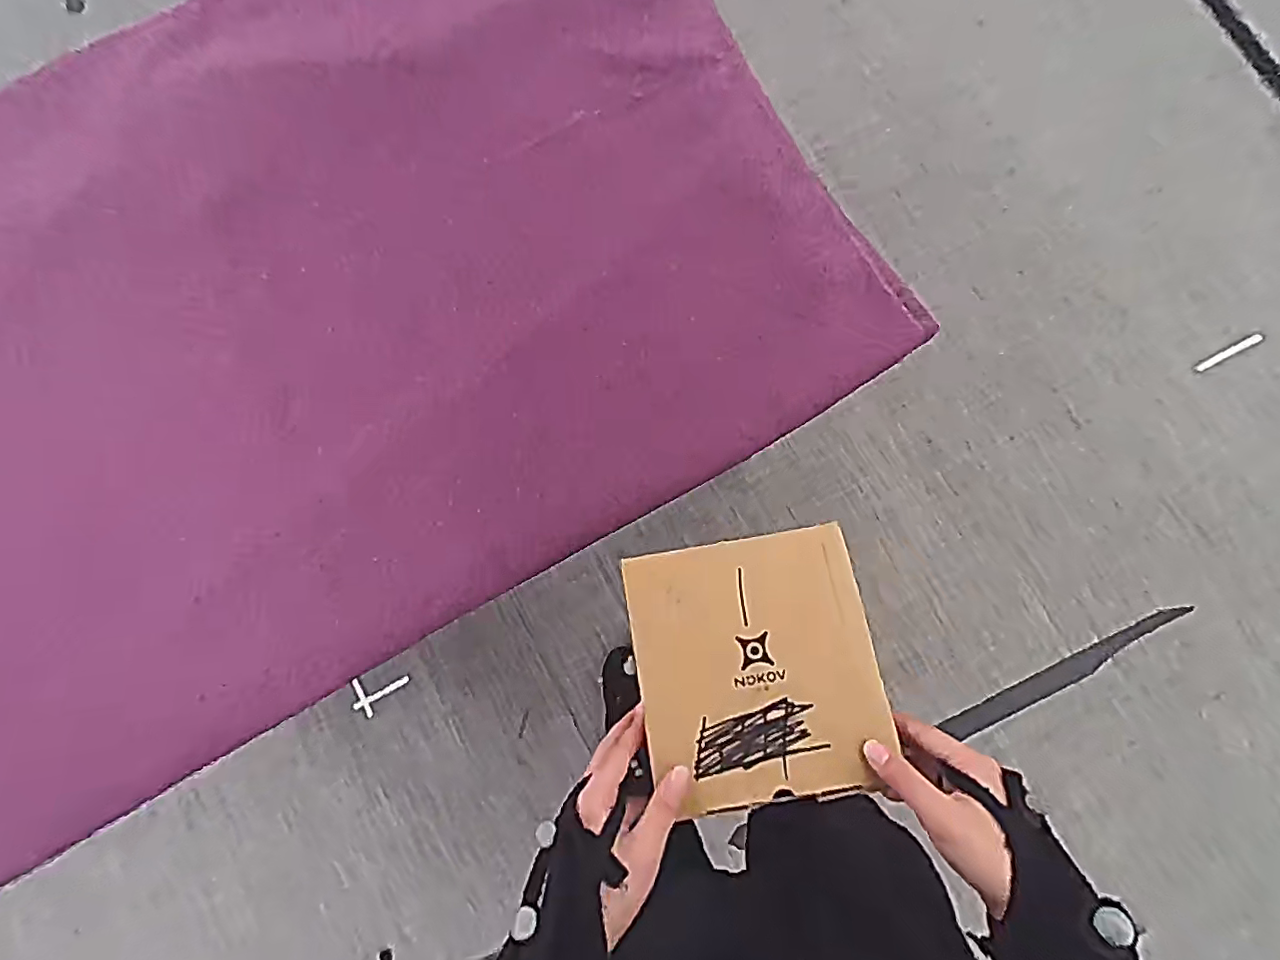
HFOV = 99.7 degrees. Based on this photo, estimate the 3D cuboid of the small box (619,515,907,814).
[{"bbox_3d":[0.083,0.141,0.443,0.168,0.176,0.179,-10,73,0],"label":"small box"}]
